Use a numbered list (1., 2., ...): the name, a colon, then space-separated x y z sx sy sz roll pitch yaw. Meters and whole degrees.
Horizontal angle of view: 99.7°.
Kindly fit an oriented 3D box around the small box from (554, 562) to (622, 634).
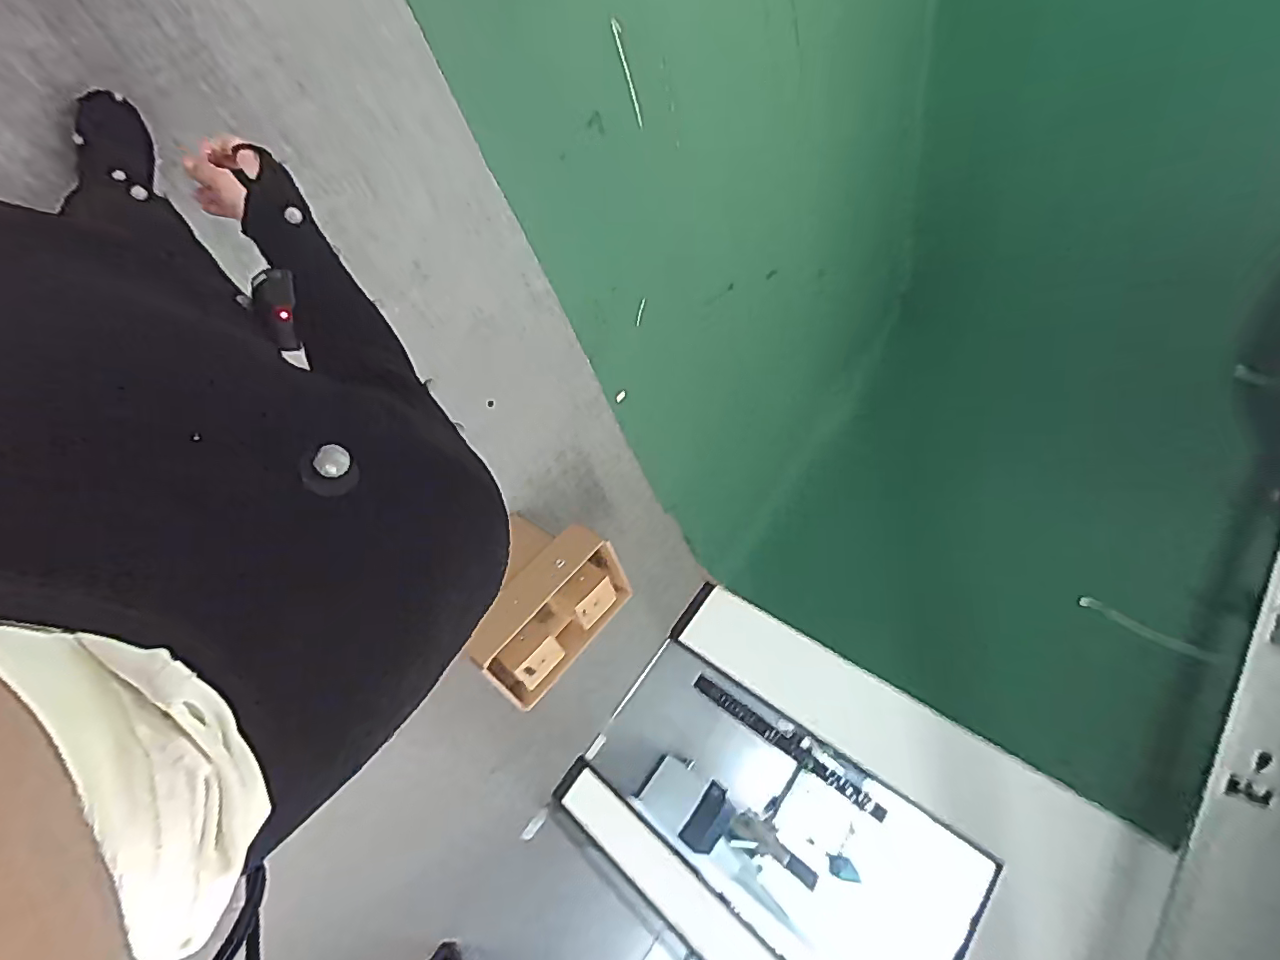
1. small box: -0.200 0.447 2.073 0.179 0.176 0.168 -44 140 -26
